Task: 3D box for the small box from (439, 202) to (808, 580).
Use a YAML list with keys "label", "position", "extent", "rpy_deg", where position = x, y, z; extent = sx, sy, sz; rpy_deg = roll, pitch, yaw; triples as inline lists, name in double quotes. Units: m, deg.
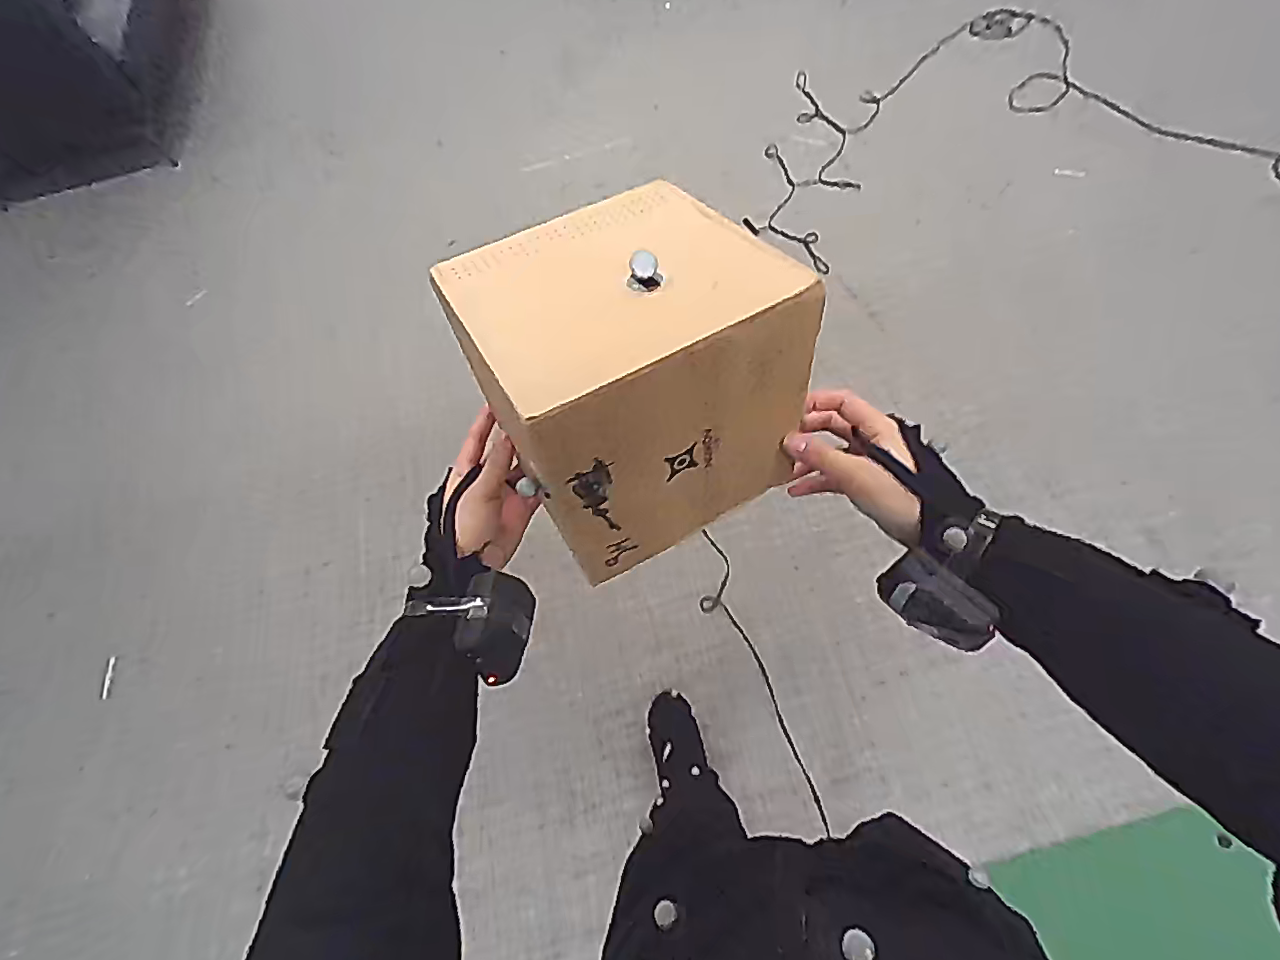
- label: "small box"
  position: [-0.013, -0.069, 0.385]
  extent: [0.179, 0.168, 0.176]
  rpy_deg: [-27, 52, -13]
